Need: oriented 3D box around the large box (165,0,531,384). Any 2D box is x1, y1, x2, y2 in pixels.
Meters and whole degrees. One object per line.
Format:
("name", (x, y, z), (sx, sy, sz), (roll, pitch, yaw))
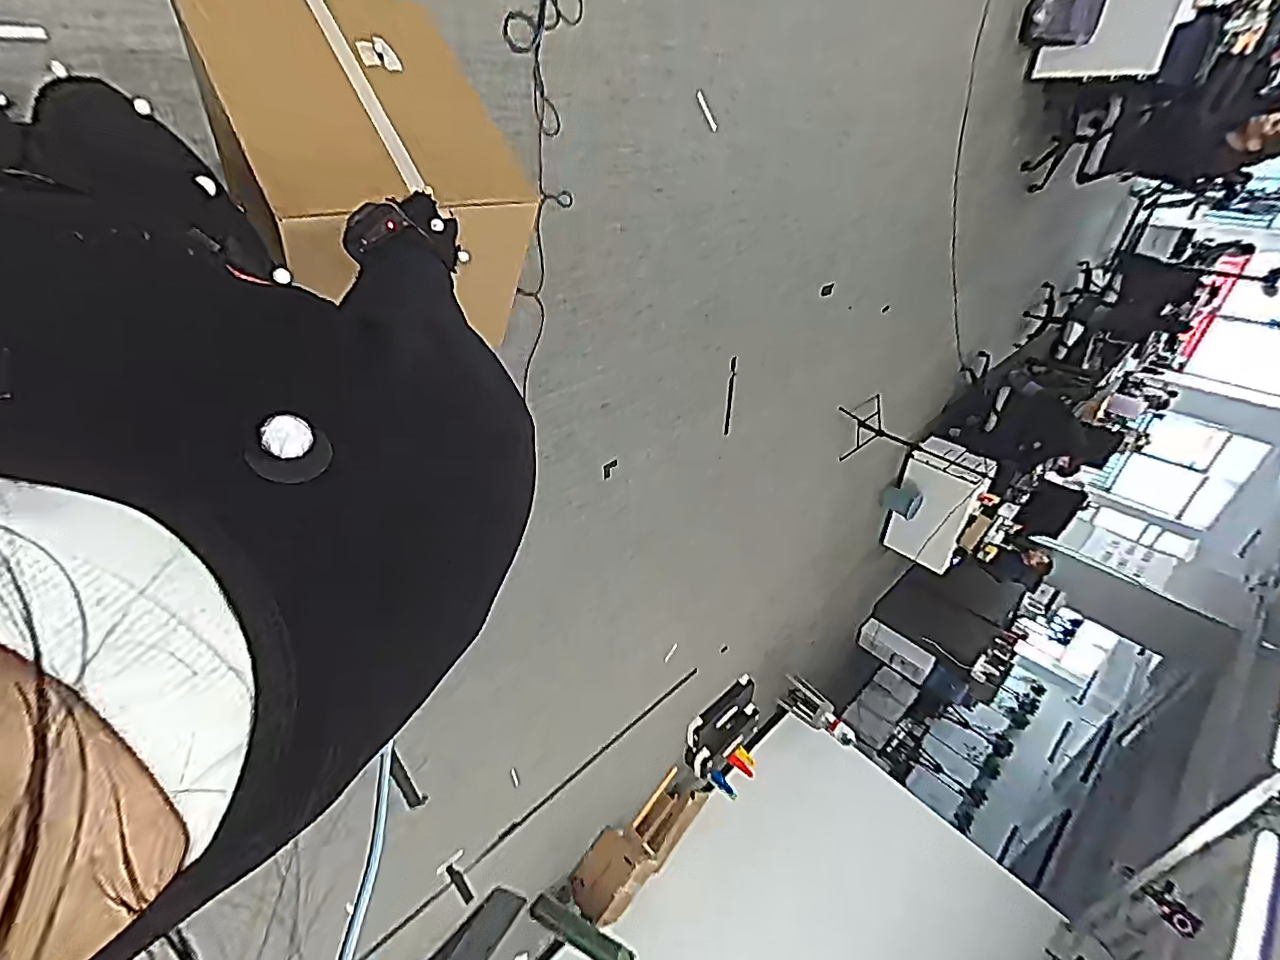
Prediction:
("large box", (-0.420, -0.422, 0.825), (0.320, 0.408, 0.320), (-23, 165, -33))
